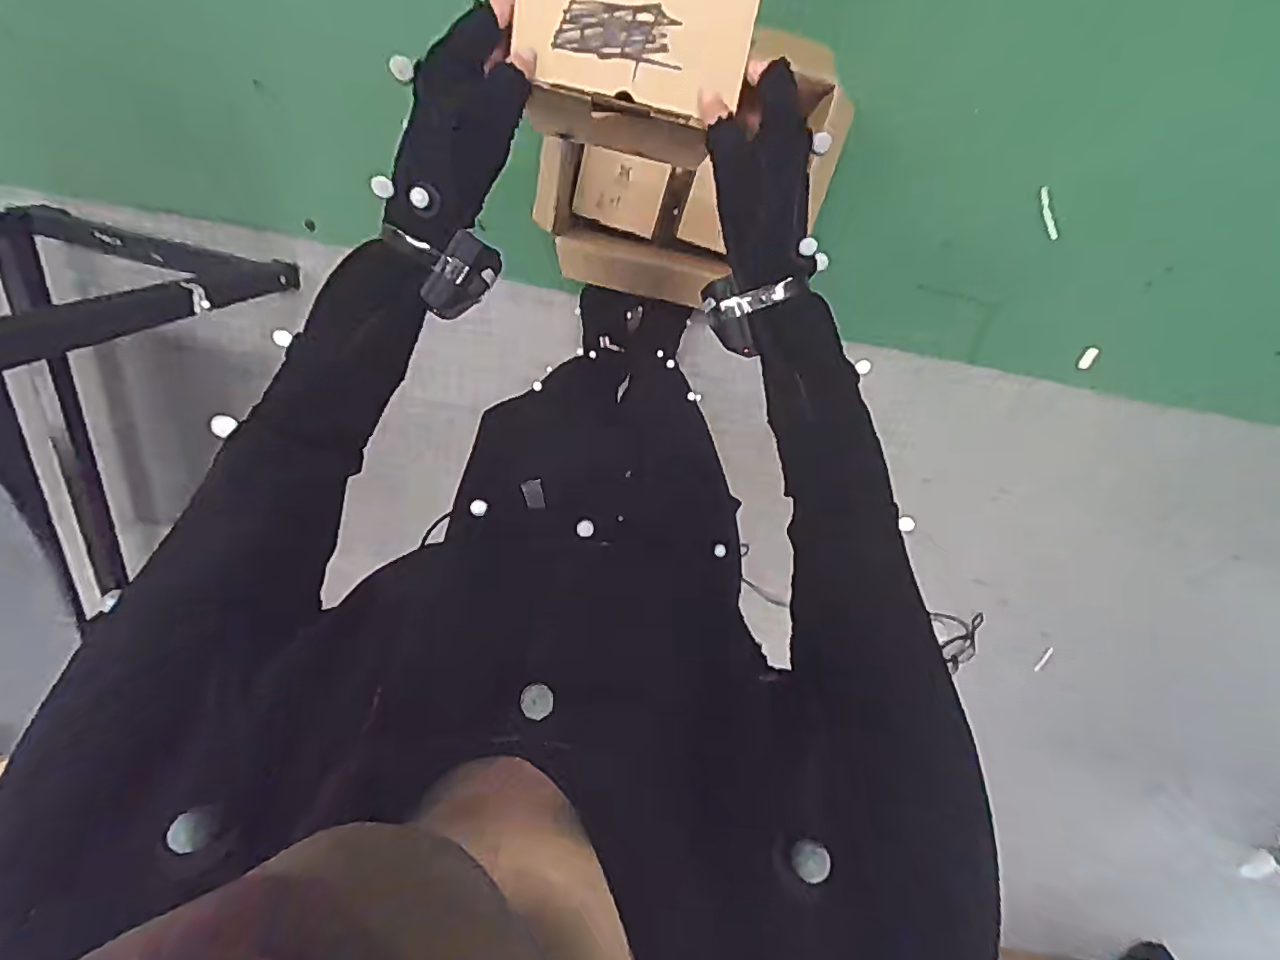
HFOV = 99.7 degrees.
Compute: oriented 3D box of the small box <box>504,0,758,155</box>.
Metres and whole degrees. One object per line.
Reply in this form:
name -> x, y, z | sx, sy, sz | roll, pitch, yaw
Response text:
small box -> -0.001, -0.376, 0.420 | 0.168, 0.176, 0.179 | 9, 111, -7
